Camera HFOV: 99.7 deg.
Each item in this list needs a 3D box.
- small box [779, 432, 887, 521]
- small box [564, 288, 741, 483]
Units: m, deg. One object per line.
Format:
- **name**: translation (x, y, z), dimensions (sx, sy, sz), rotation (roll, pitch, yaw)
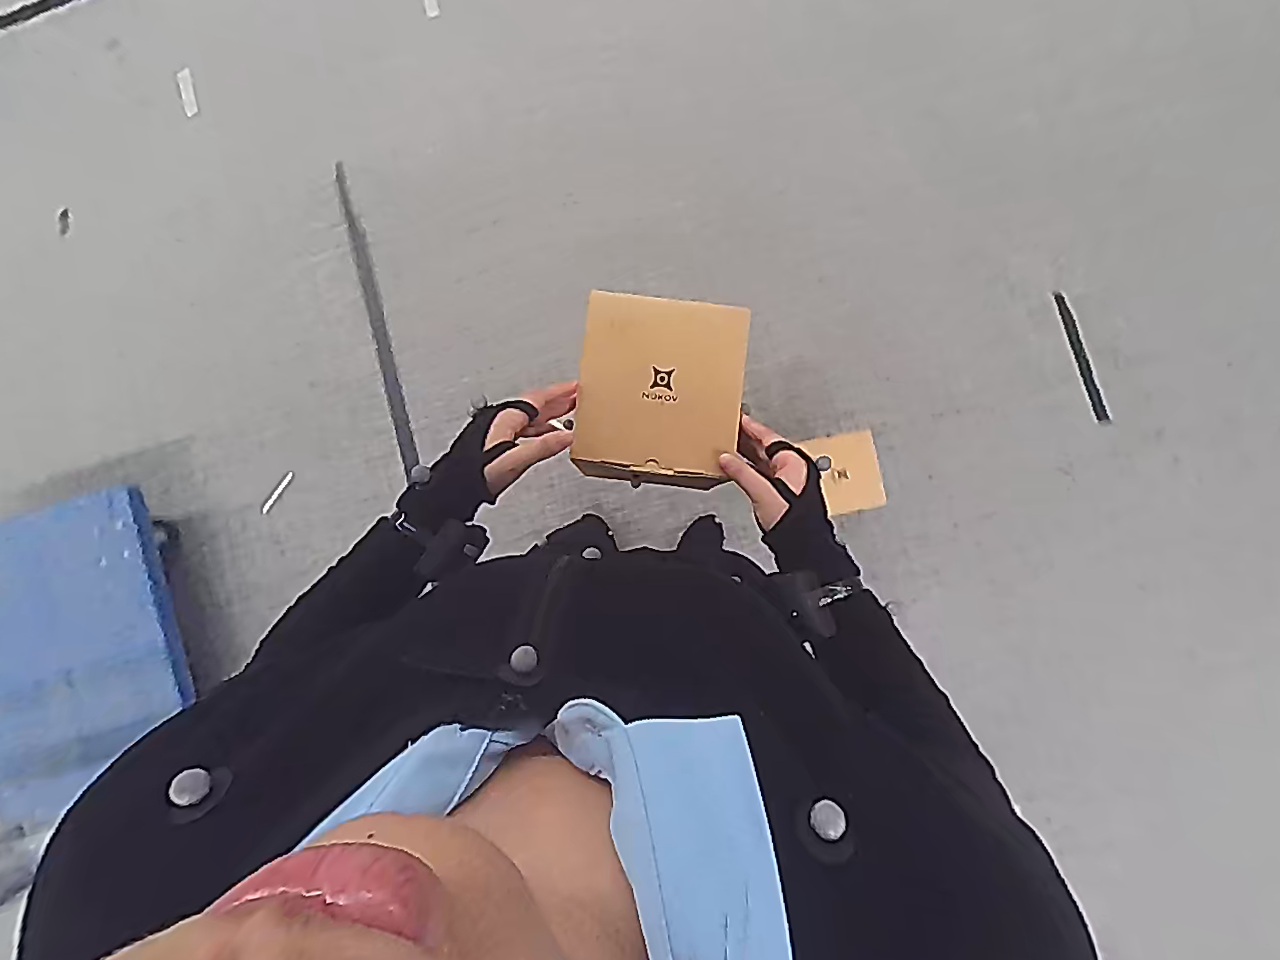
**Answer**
- **small box**: translation (0.427, -0.006, 1.222), dimensions (0.179, 0.176, 0.168), rotation (-11, 86, 5)
- **small box**: translation (0.011, -0.094, 0.613), dimensions (0.168, 0.176, 0.179), rotation (5, 87, -1)
